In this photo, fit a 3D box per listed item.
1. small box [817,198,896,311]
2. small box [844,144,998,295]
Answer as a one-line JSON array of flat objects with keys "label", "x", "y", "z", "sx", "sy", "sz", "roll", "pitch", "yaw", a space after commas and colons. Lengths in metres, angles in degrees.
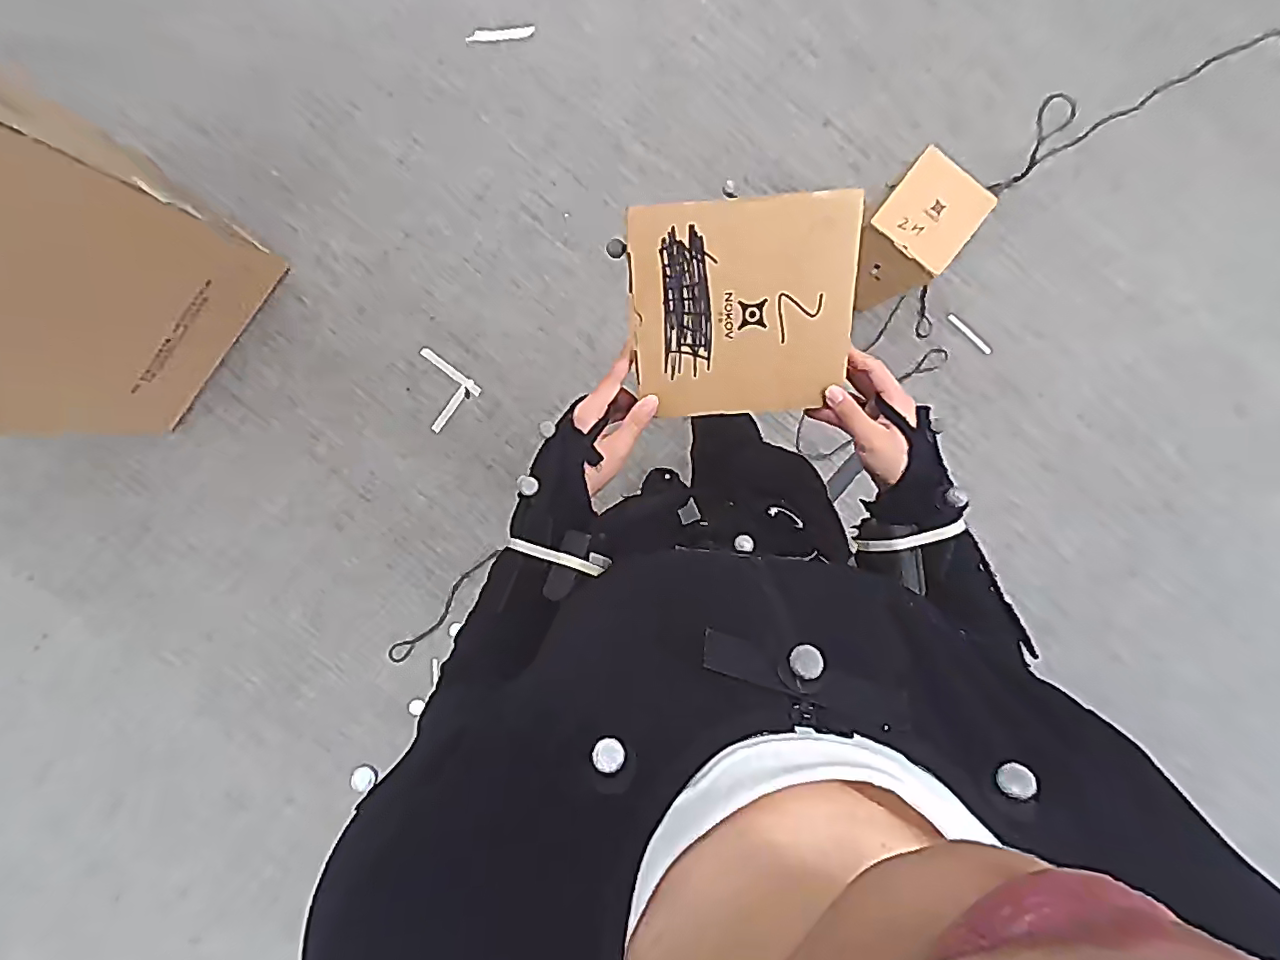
[{"label": "small box", "x": 0.536, "y": -0.514, "z": 1.227, "sx": 0.168, "sy": 0.176, "sz": 0.179, "roll": 39, "pitch": 95, "yaw": -4}, {"label": "small box", "x": 0.537, "y": -0.498, "z": 1.063, "sx": 0.168, "sy": 0.176, "sz": 0.179, "roll": 38, "pitch": 94, "yaw": -3}]
